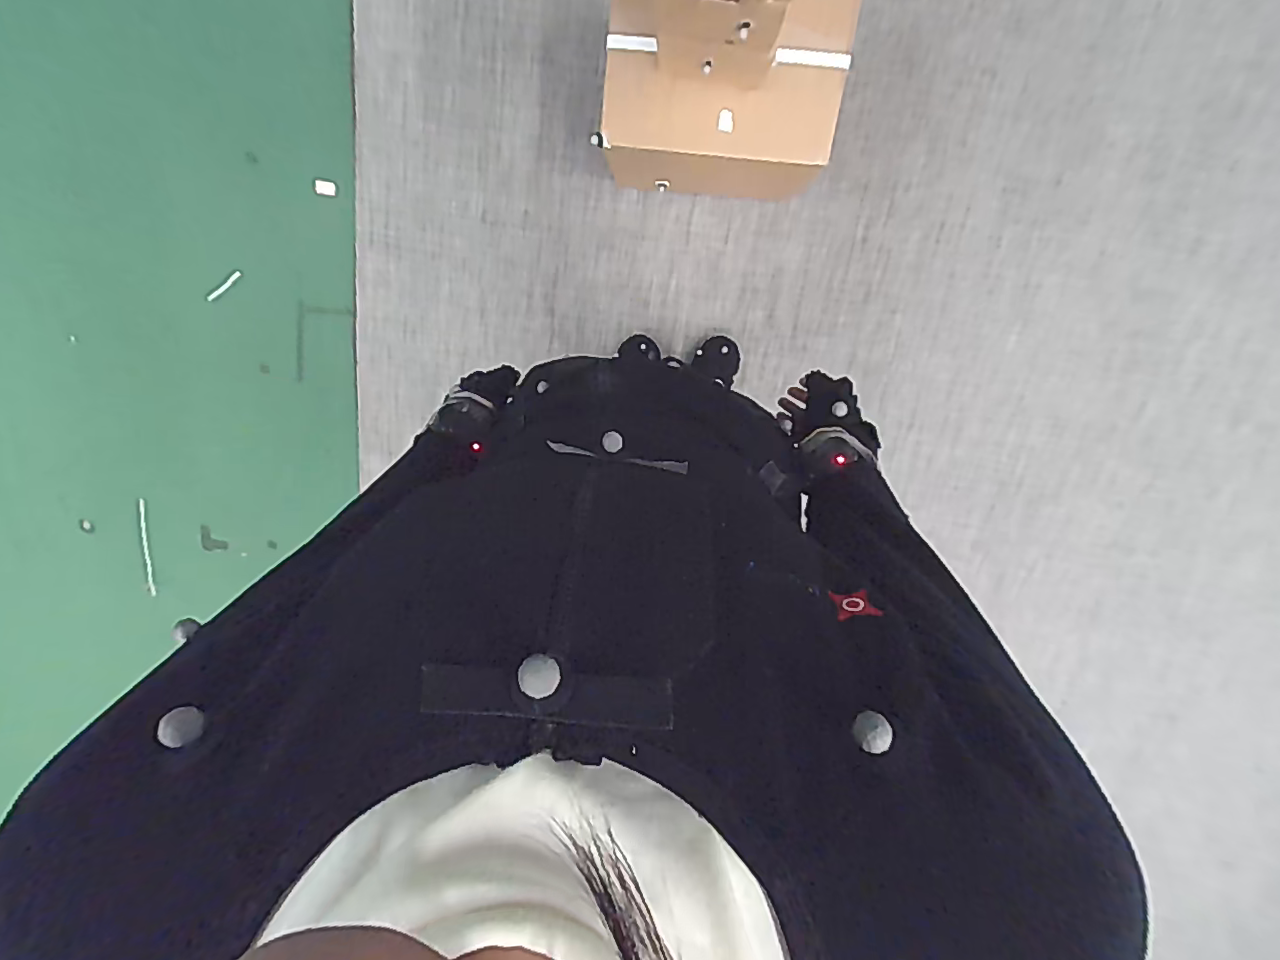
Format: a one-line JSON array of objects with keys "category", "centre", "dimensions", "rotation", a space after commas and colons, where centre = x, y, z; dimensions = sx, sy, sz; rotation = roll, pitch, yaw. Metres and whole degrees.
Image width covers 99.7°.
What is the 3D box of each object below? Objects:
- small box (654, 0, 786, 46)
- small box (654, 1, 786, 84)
[{"category": "small box", "centre": [0.110, -0.670, 0.659], "dimensions": [0.168, 0.176, 0.179], "rotation": [9, 111, 0]}, {"category": "small box", "centre": [0.126, -0.725, 0.807], "dimensions": [0.179, 0.176, 0.168], "rotation": [14, 111, -1]}]
